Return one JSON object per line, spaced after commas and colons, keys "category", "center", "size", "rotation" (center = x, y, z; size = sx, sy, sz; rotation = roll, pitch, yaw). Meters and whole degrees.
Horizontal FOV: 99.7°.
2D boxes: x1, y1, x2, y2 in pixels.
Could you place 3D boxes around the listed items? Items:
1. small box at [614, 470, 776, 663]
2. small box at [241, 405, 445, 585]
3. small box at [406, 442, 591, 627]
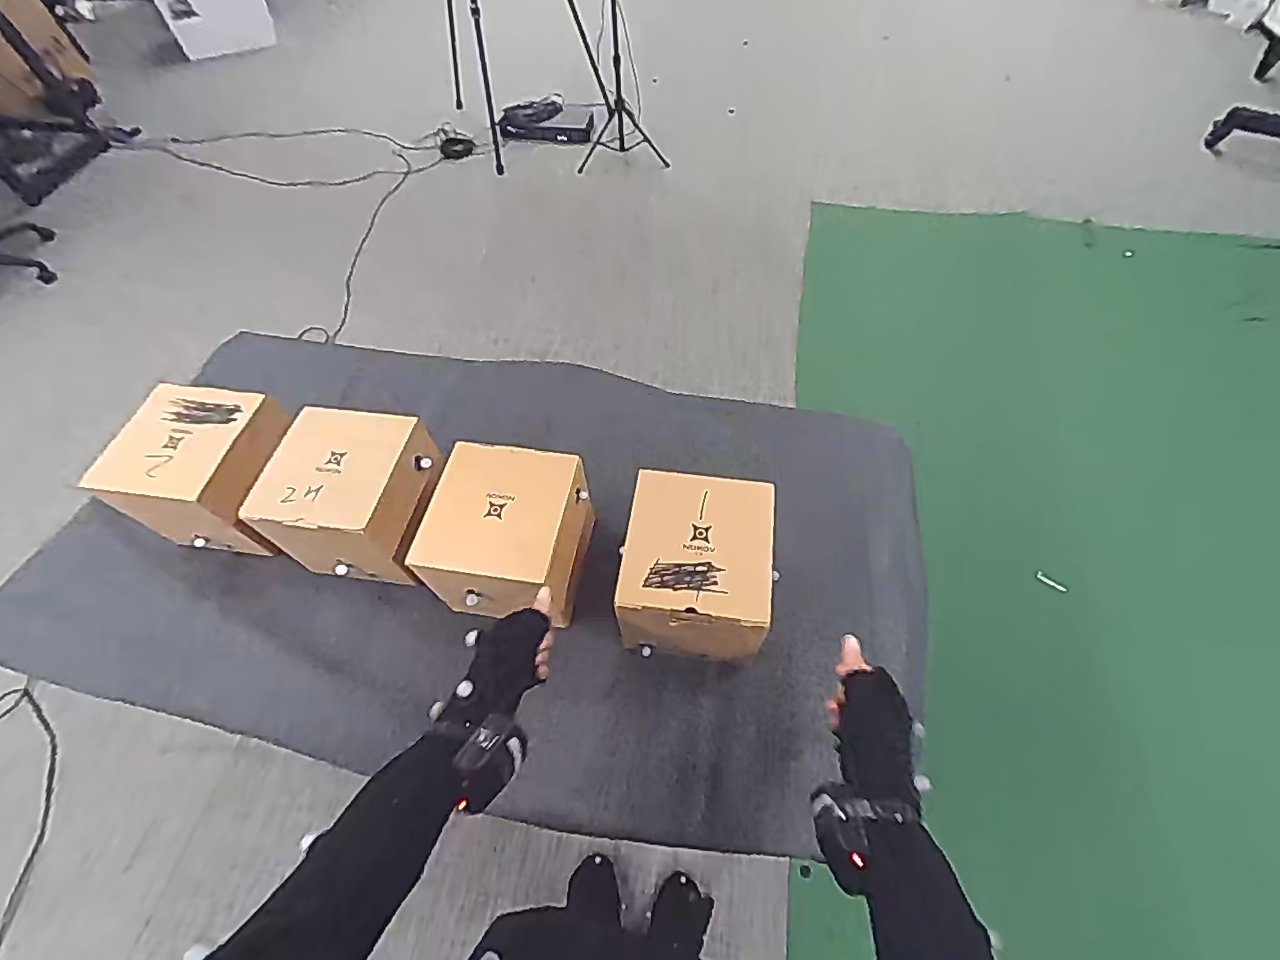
{"category": "small box", "center": [0.070, 0.112, 0.667], "size": [0.168, 0.176, 0.179], "rotation": [7, 57, 7]}
{"category": "small box", "center": [-0.379, 0.023, 0.743], "size": [0.168, 0.176, 0.179], "rotation": [6, 58, 7]}
{"category": "small box", "center": [-0.165, 0.076, 0.703], "size": [0.168, 0.176, 0.179], "rotation": [7, 57, 7]}
